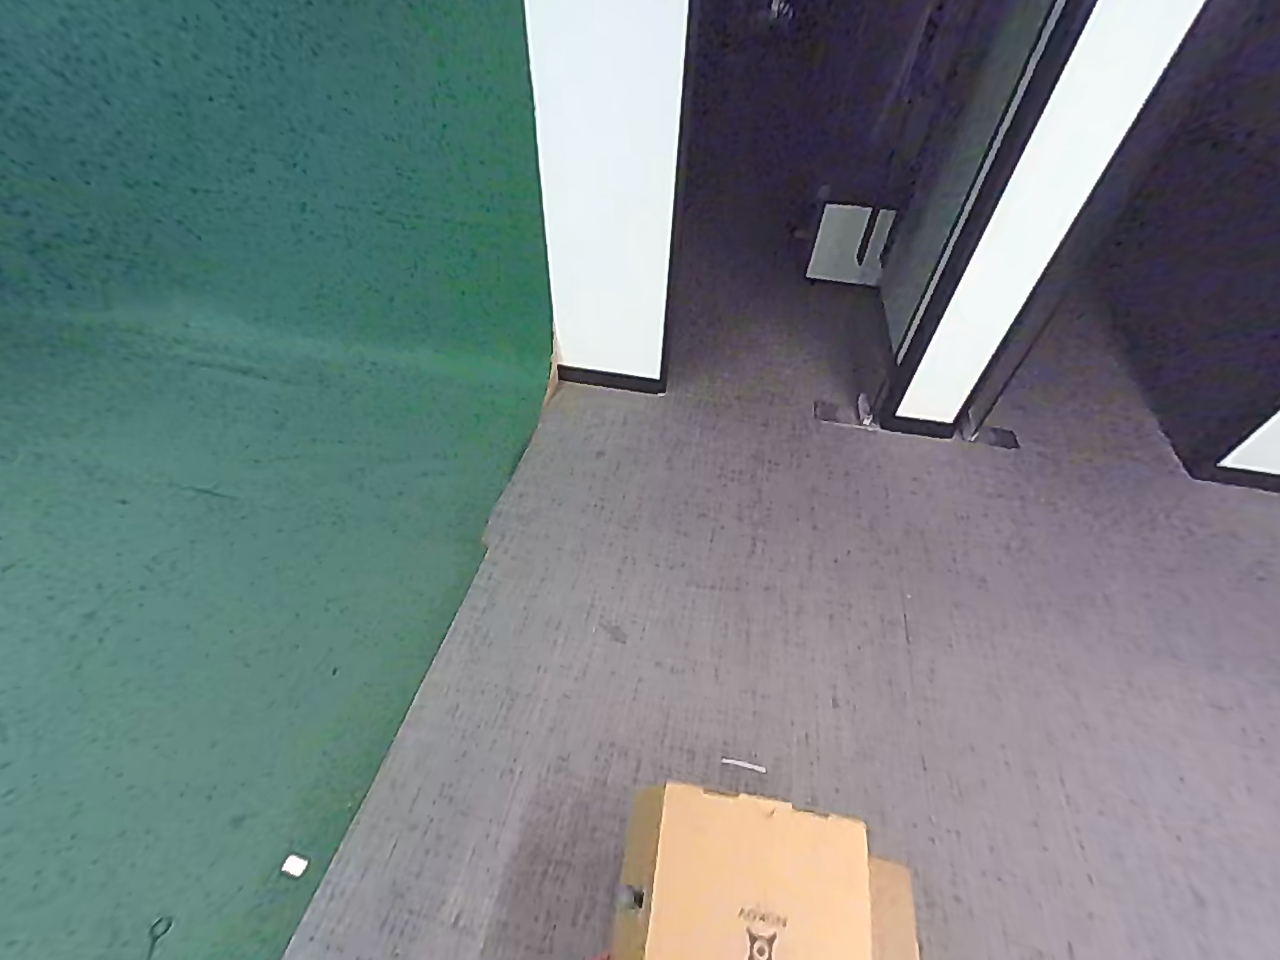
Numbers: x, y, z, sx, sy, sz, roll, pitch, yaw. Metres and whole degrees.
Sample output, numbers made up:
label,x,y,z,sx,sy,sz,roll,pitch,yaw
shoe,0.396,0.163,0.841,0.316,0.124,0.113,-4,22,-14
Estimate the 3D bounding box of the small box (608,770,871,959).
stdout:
label,x,y,z,sx,sy,sz,roll,pitch,yaw
small box,0.071,0.356,0.445,0.168,0.176,0.179,13,57,-2
